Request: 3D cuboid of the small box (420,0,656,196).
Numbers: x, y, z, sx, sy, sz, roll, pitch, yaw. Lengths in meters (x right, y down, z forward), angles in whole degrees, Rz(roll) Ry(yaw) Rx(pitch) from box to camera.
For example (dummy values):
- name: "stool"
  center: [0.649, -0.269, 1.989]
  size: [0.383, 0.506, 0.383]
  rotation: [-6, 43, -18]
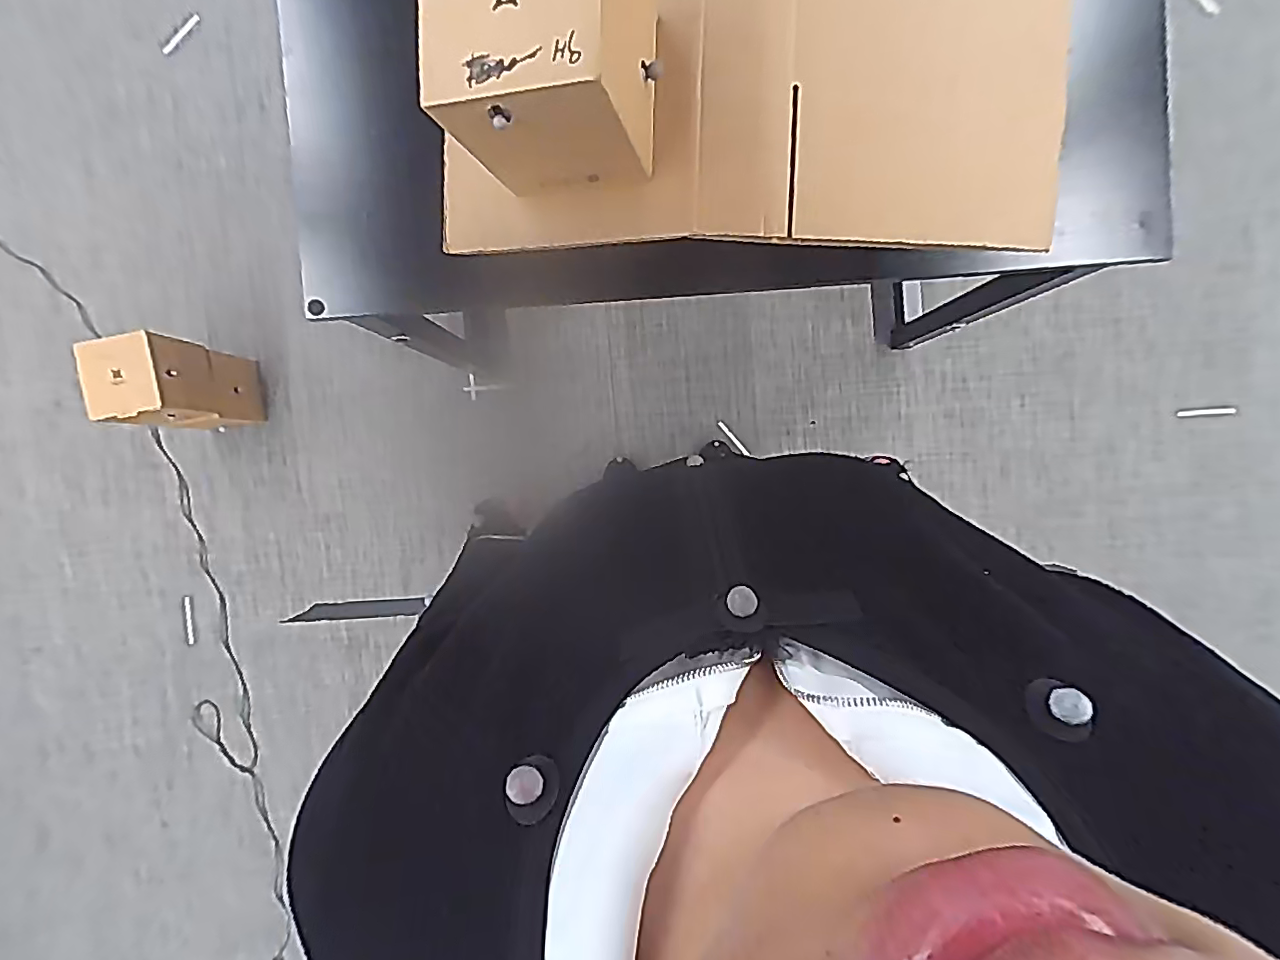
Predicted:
- name: "small box"
  center: [-0.084, -0.403, 0.515]
  size: [0.168, 0.176, 0.179]
  rotation: [2, 92, 16]

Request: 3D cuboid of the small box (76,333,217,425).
- name: "small box"
  center: [-1.136, -0.227, 1.261]
  size: [0.168, 0.176, 0.179]
  rotation: [-11, 91, 1]

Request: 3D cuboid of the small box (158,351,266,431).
- name: "small box"
  center: [-1.132, -0.229, 1.424]
  size: [0.168, 0.176, 0.179]
  rotation: [-8, 93, 1]
